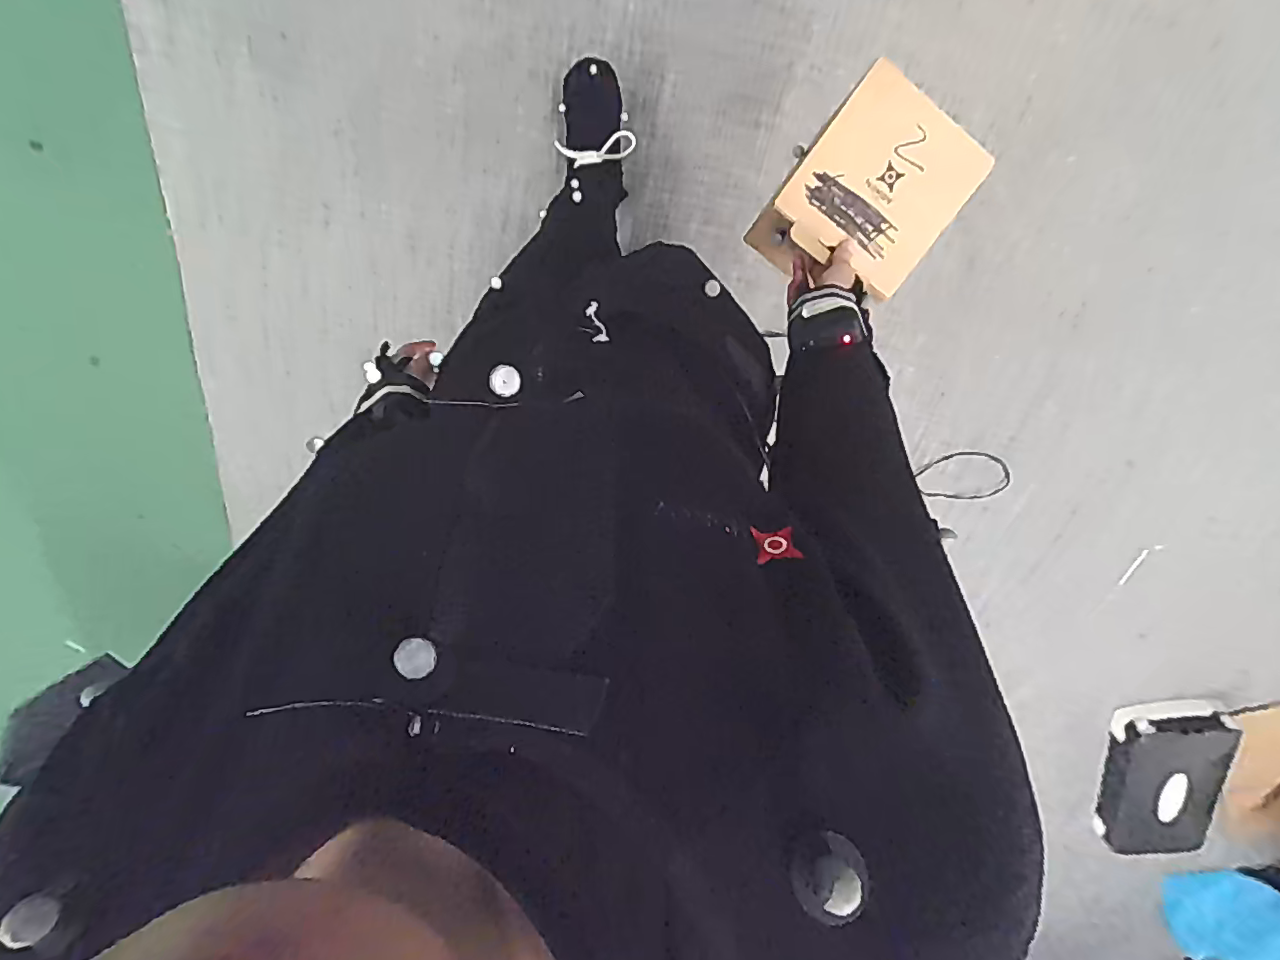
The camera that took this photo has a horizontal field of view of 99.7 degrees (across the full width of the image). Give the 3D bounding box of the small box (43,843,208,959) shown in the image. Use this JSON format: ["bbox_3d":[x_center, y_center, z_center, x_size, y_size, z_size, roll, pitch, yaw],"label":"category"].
[{"bbox_3d":[-1.041,0.881,1.107,0.179,0.176,0.168,24,119,-9],"label":"small box"}]
